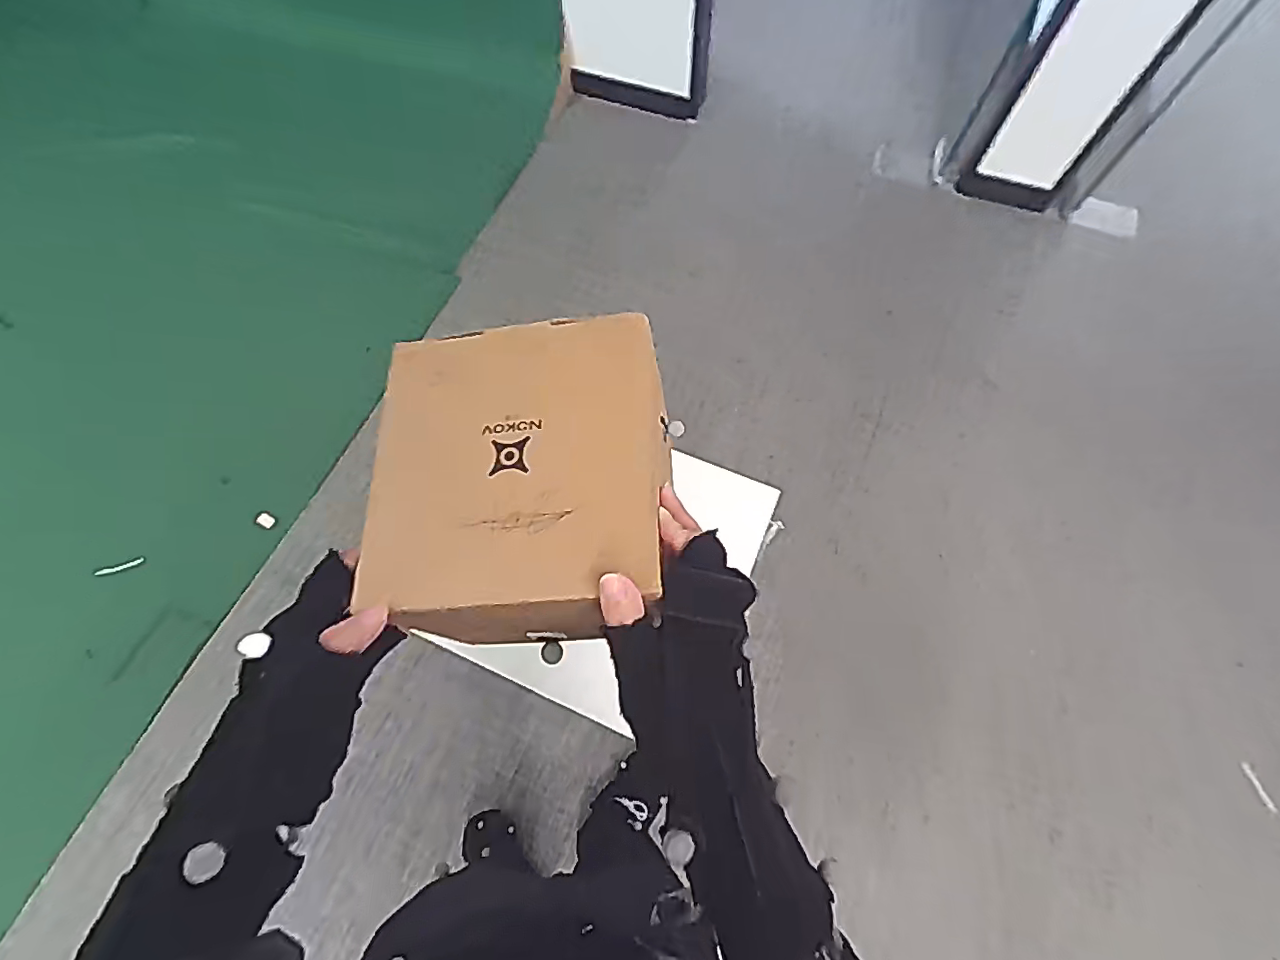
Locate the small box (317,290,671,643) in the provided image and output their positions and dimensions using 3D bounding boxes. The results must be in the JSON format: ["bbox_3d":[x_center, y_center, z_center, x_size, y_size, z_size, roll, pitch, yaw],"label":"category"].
[{"bbox_3d":[-0.072,0.007,0.363,0.168,0.176,0.179,-7,68,6],"label":"small box"}]
